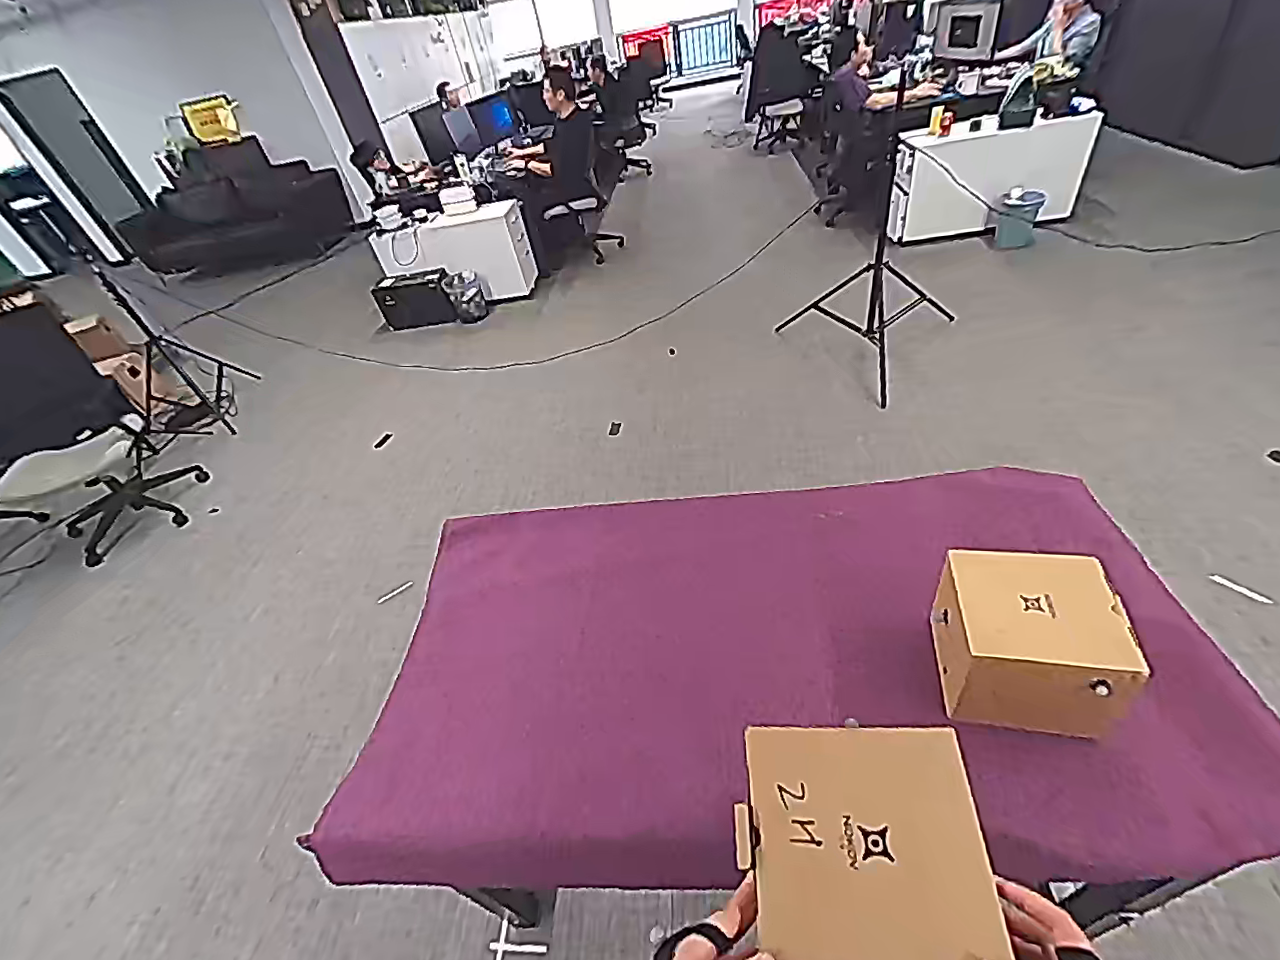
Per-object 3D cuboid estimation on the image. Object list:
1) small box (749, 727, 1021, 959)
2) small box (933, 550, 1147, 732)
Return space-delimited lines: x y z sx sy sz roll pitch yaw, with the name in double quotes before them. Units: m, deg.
"small box" 0.194 0.325 0.484 0.179 0.176 0.168 -6 54 12
"small box" 0.502 0.212 0.717 0.179 0.176 0.168 1 42 16
